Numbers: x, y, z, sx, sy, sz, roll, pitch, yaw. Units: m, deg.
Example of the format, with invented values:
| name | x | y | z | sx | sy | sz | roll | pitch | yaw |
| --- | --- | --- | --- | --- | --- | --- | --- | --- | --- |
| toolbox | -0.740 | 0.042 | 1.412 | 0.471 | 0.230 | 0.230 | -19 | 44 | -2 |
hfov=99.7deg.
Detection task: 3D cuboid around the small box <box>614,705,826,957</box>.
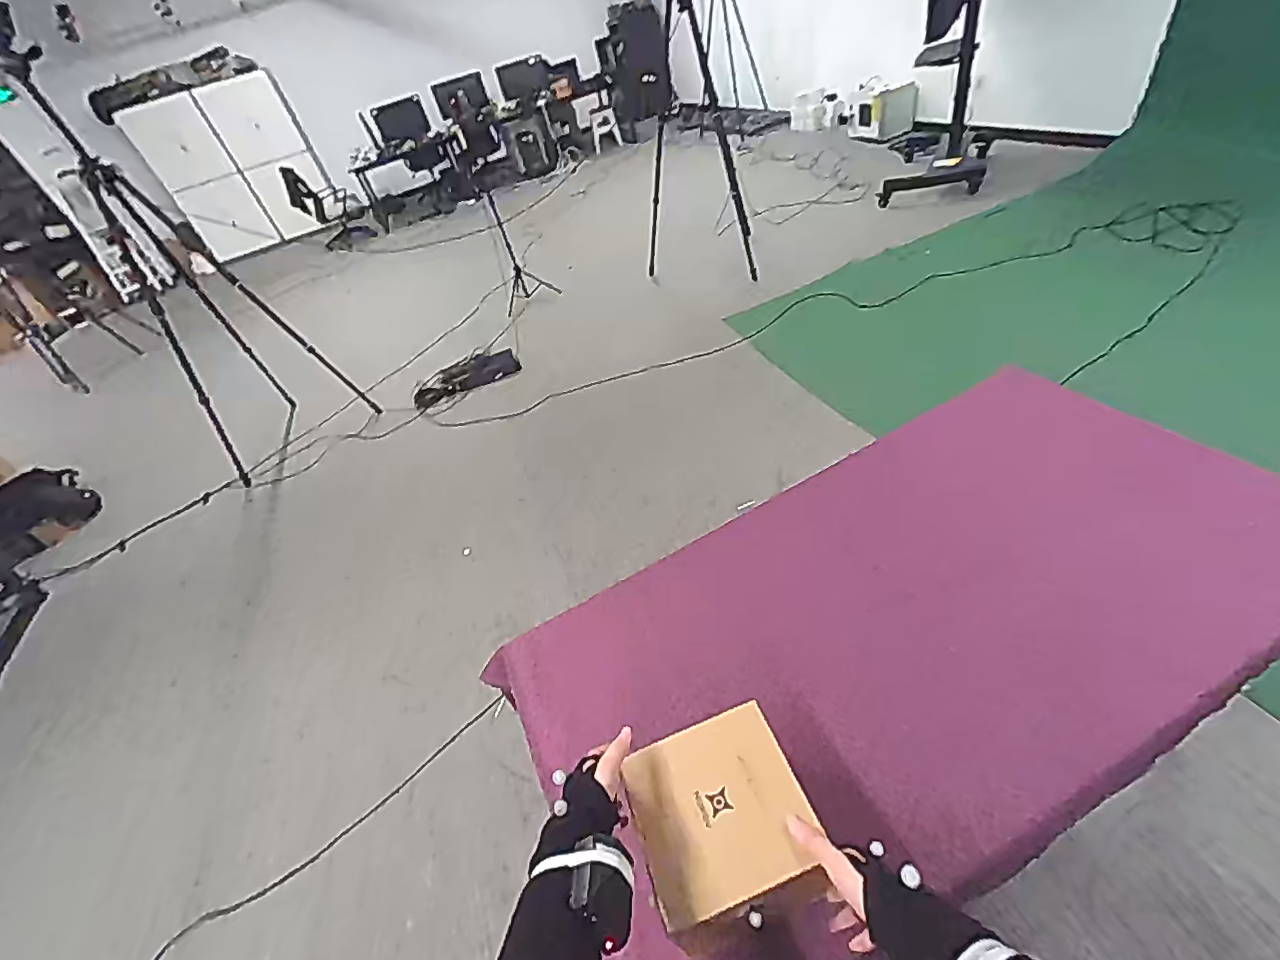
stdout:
| name | x | y | z | sx | sy | sz | roll | pitch | yaw |
| --- | --- | --- | --- | --- | --- | --- | --- | --- | --- |
| small box | 0.091 | 0.395 | 0.608 | 0.179 | 0.176 | 0.168 | -22 | 42 | -5 |
